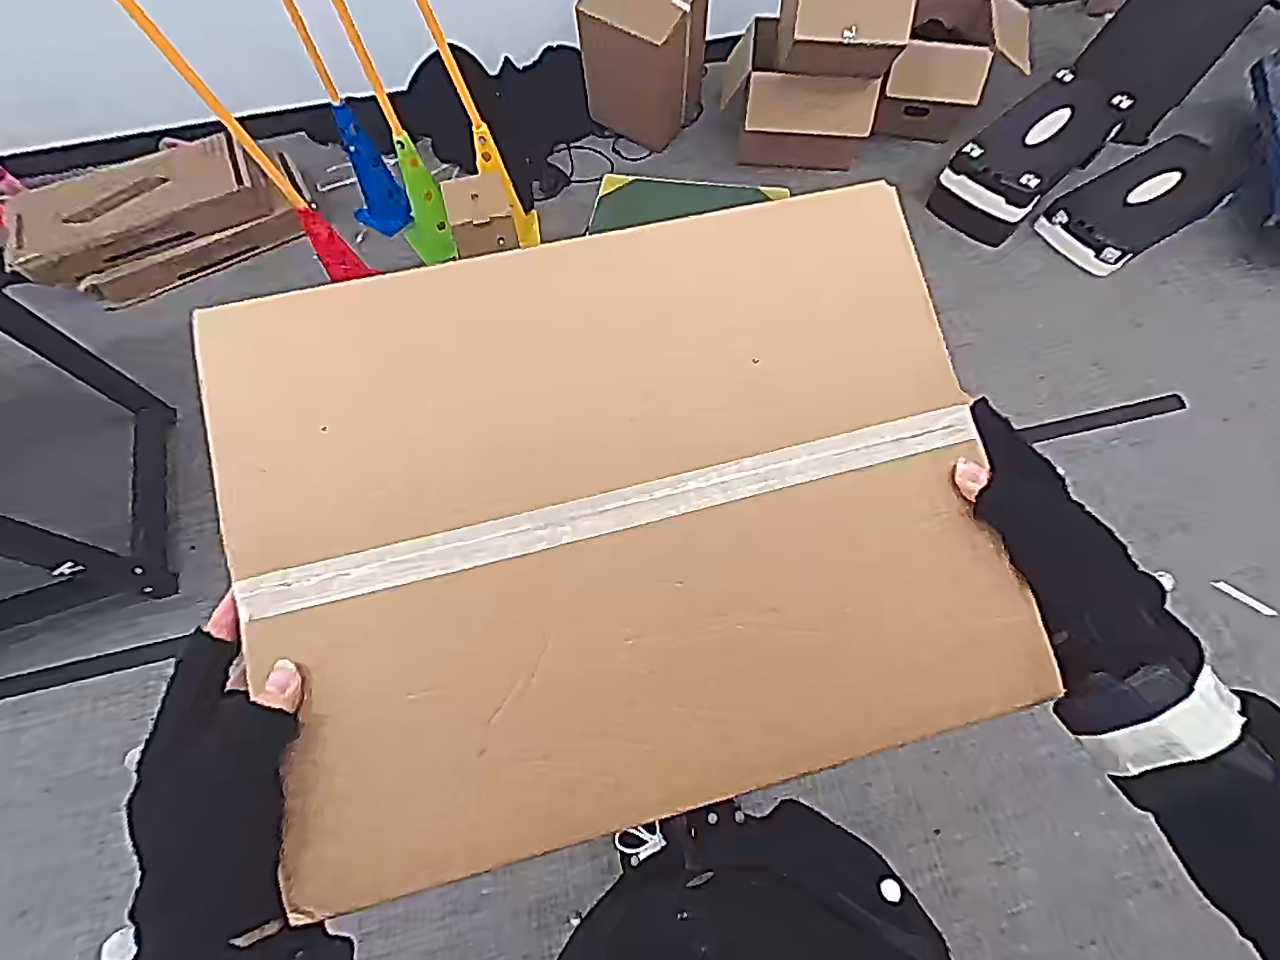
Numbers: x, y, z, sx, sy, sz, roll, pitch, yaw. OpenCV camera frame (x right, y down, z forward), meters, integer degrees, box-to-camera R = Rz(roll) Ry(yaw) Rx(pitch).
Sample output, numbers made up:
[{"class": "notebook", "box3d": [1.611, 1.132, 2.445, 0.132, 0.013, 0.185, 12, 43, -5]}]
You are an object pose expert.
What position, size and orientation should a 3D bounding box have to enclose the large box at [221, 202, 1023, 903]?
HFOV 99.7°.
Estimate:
[{"class": "large box", "box3d": [-0.017, 0.036, 0.451, 0.408, 0.320, 0.320, -13, 82, -6]}]
